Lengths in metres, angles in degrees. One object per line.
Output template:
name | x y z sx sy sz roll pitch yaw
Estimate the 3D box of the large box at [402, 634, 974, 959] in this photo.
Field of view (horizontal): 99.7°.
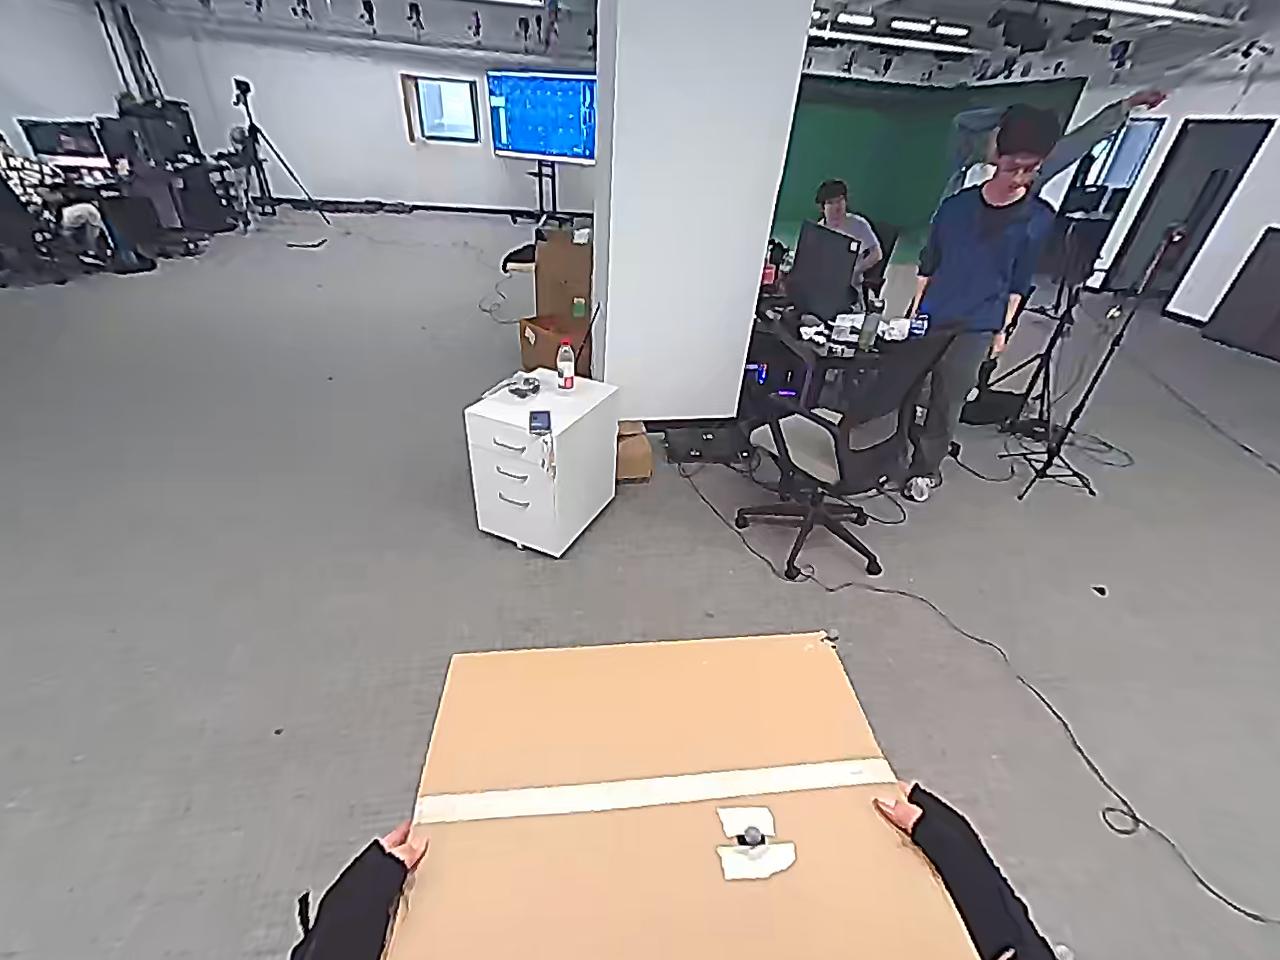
large box | 0.020 0.390 0.553 0.408 0.320 0.320 -2 35 -4
